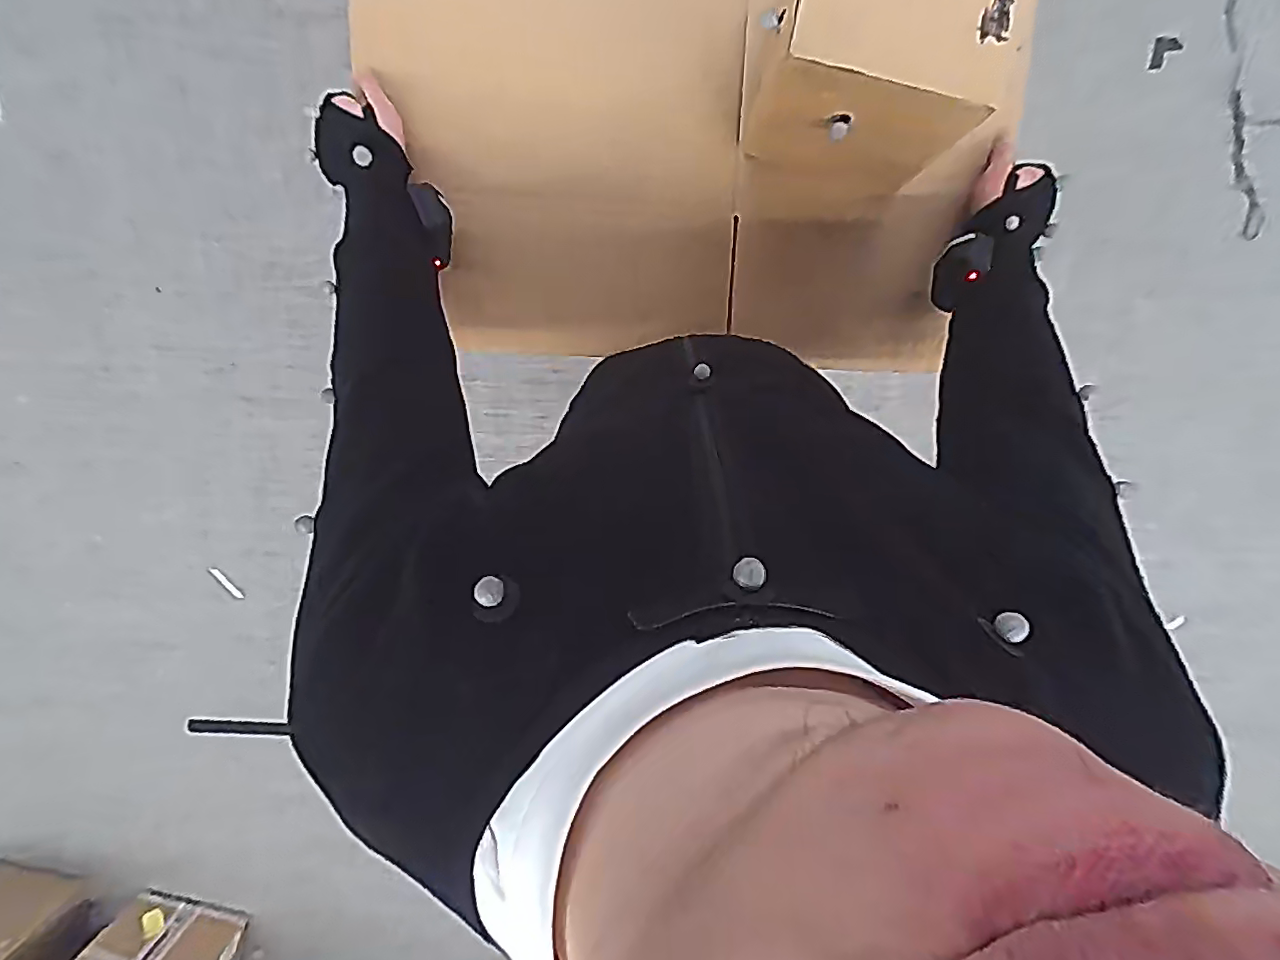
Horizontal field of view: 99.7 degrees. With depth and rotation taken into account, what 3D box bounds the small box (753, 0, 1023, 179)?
[{"bbox_3d":[0.216,-0.406,0.497,0.179,0.176,0.168,13,98,-1],"label":"small box"}]
